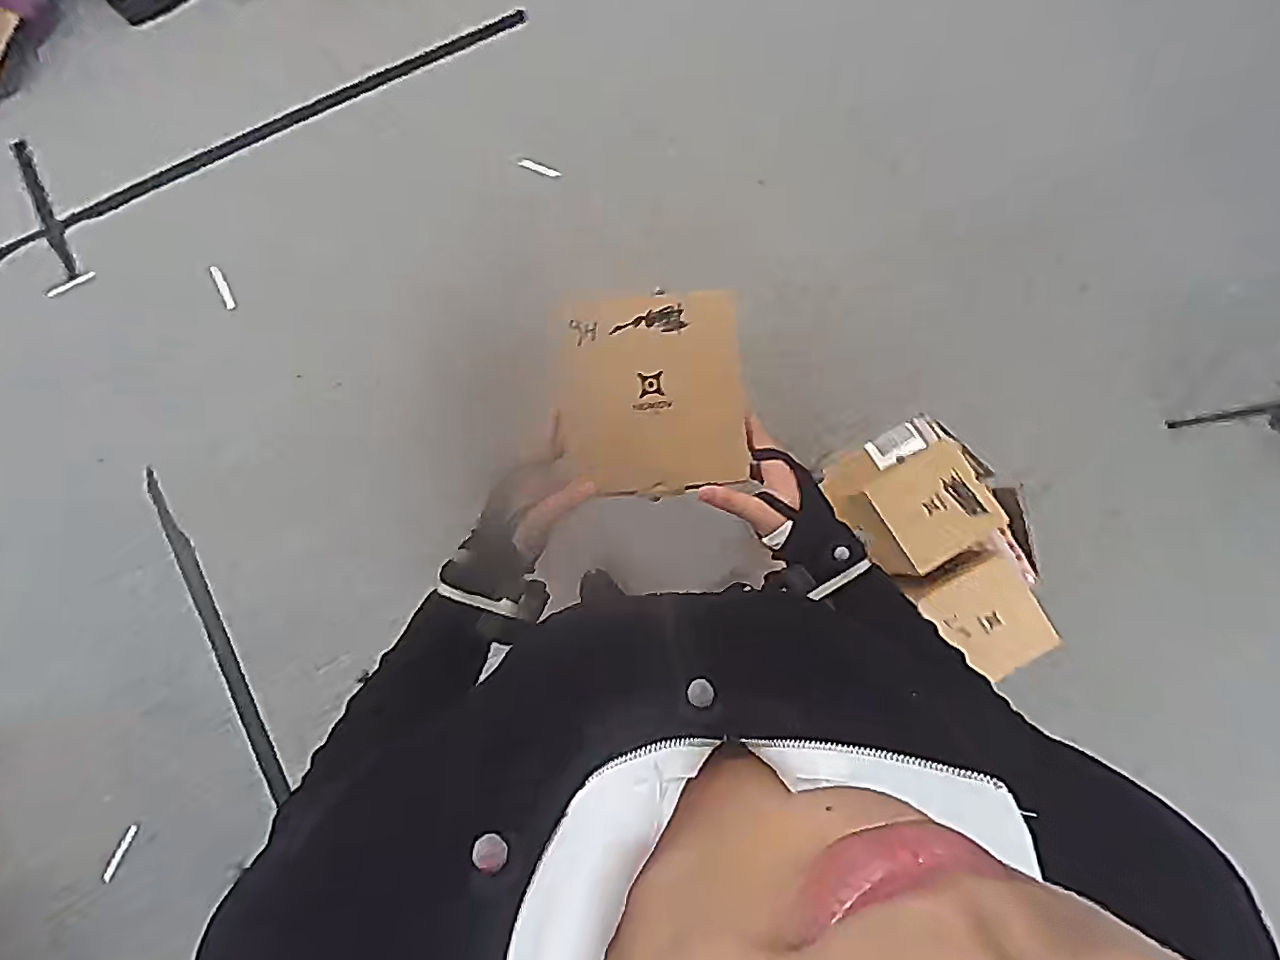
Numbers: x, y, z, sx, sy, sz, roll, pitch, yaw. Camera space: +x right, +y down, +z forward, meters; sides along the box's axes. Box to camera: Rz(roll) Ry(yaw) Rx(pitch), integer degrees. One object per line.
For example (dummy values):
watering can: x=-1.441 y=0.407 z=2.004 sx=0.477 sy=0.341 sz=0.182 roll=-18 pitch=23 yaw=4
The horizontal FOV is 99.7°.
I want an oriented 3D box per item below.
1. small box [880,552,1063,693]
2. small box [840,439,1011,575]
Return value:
small box: x=0.557 y=0.232 z=0.935 sx=0.179 sy=0.176 sz=0.168 roll=-28 pitch=84 yaw=-2
small box: x=0.491 y=0.051 z=0.959 sx=0.179 sy=0.176 sz=0.168 roll=-31 pitch=82 yaw=-1
